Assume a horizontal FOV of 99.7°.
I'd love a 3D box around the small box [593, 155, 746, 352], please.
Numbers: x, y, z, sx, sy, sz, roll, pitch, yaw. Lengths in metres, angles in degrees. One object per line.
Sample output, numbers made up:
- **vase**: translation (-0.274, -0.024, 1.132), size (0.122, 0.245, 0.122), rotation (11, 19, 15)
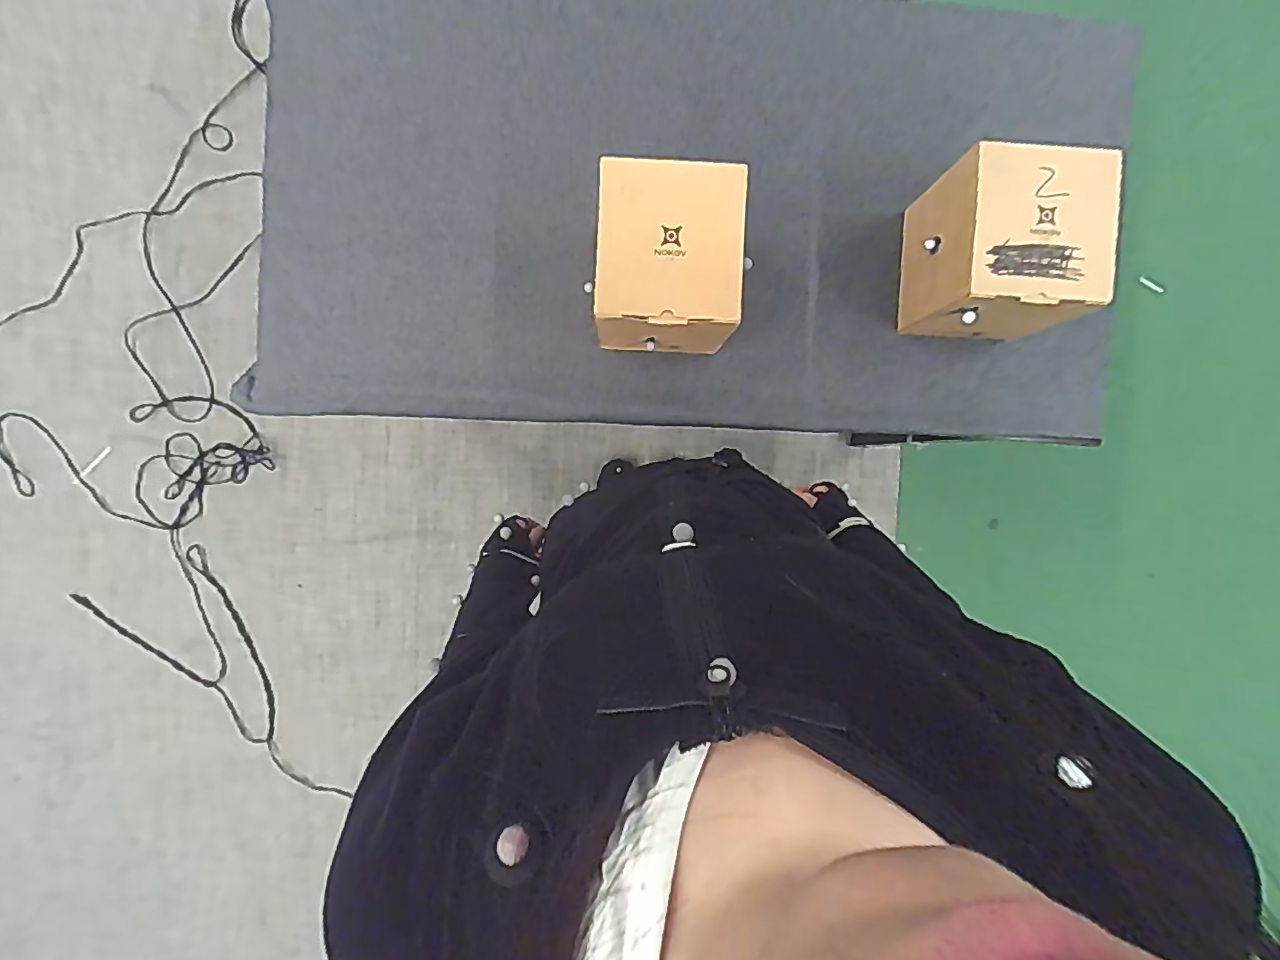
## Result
- **small box**: translation (0.028, -0.268, 0.676), size (0.168, 0.176, 0.179), rotation (2, 92, -3)
